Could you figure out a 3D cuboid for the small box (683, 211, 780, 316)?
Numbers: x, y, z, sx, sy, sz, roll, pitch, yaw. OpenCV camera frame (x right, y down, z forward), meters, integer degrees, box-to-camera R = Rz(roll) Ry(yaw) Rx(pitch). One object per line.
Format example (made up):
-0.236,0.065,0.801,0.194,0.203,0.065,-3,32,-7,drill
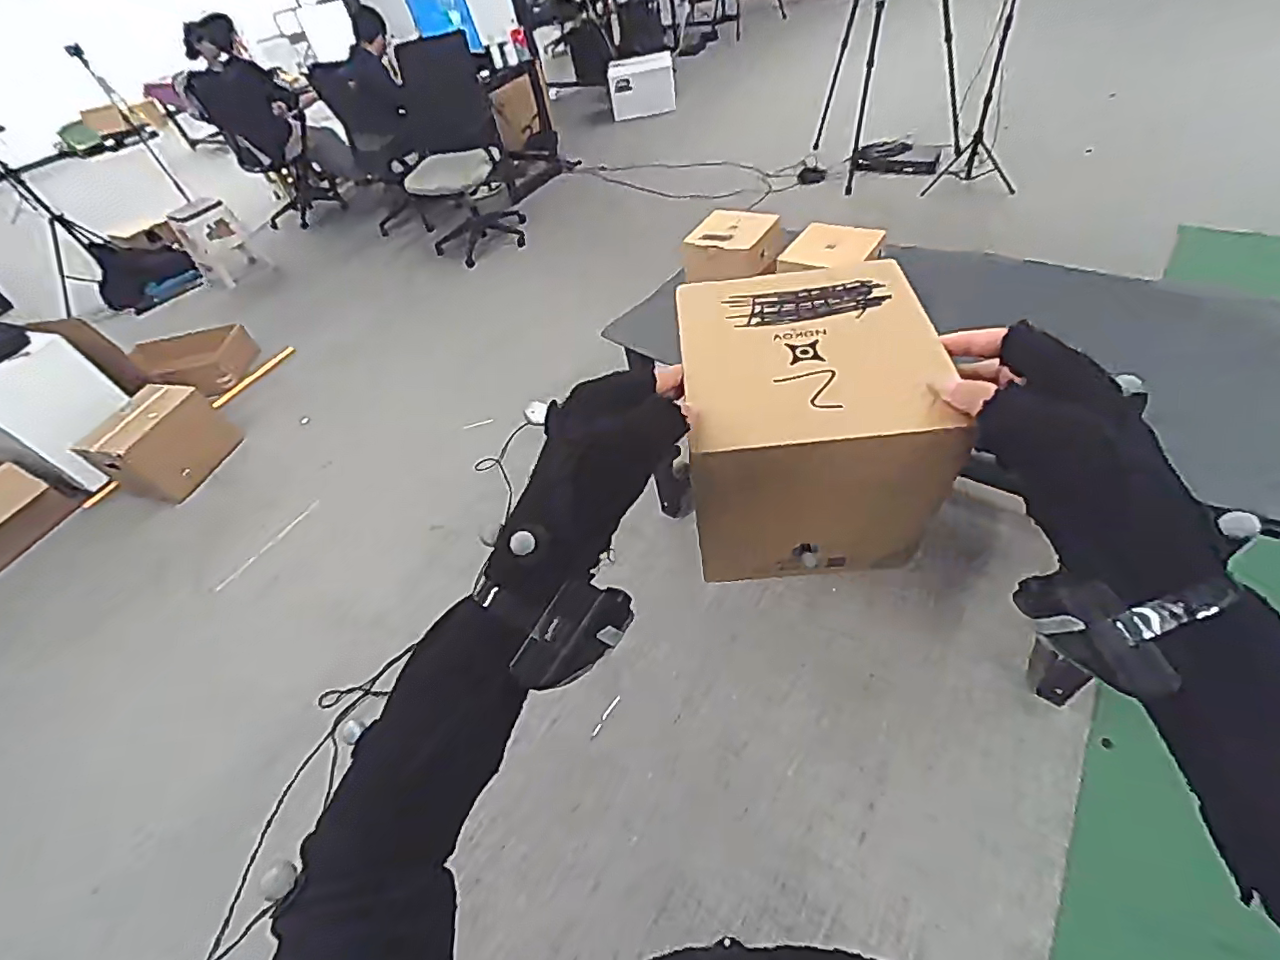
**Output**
0.222,-0.513,1.283,0.168,0.176,0.179,20,55,27,small box

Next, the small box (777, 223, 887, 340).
0.409,-0.427,1.167,0.168,0.176,0.179,23,57,29,small box
